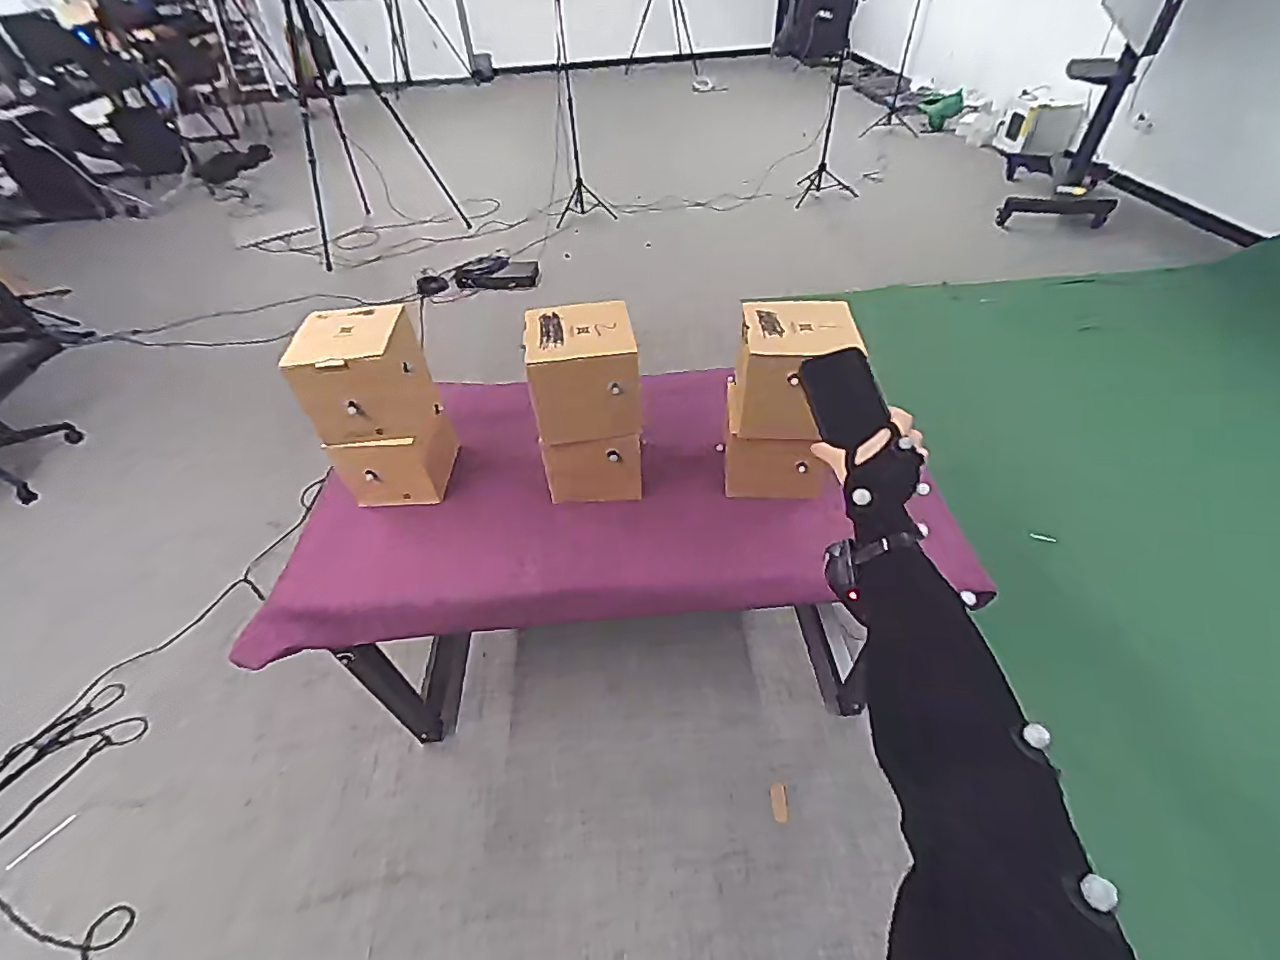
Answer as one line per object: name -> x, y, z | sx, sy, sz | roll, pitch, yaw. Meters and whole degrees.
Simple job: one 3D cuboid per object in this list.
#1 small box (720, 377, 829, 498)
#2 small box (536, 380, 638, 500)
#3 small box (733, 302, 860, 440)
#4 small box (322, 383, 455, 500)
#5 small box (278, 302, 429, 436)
small box -> 0.247, -0.079, 1.040 | 0.179, 0.176, 0.168 | 2, 46, 6
small box -> -0.093, -0.075, 1.053 | 0.179, 0.176, 0.168 | -3, 46, 1
small box -> 0.249, -0.182, 0.911 | 0.179, 0.176, 0.168 | 2, 46, 4
small box -> -0.484, -0.072, 1.074 | 0.168, 0.176, 0.179 | -2, 46, 1
small box -> -0.491, -0.191, 0.962 | 0.168, 0.176, 0.179 | -5, 47, -3
